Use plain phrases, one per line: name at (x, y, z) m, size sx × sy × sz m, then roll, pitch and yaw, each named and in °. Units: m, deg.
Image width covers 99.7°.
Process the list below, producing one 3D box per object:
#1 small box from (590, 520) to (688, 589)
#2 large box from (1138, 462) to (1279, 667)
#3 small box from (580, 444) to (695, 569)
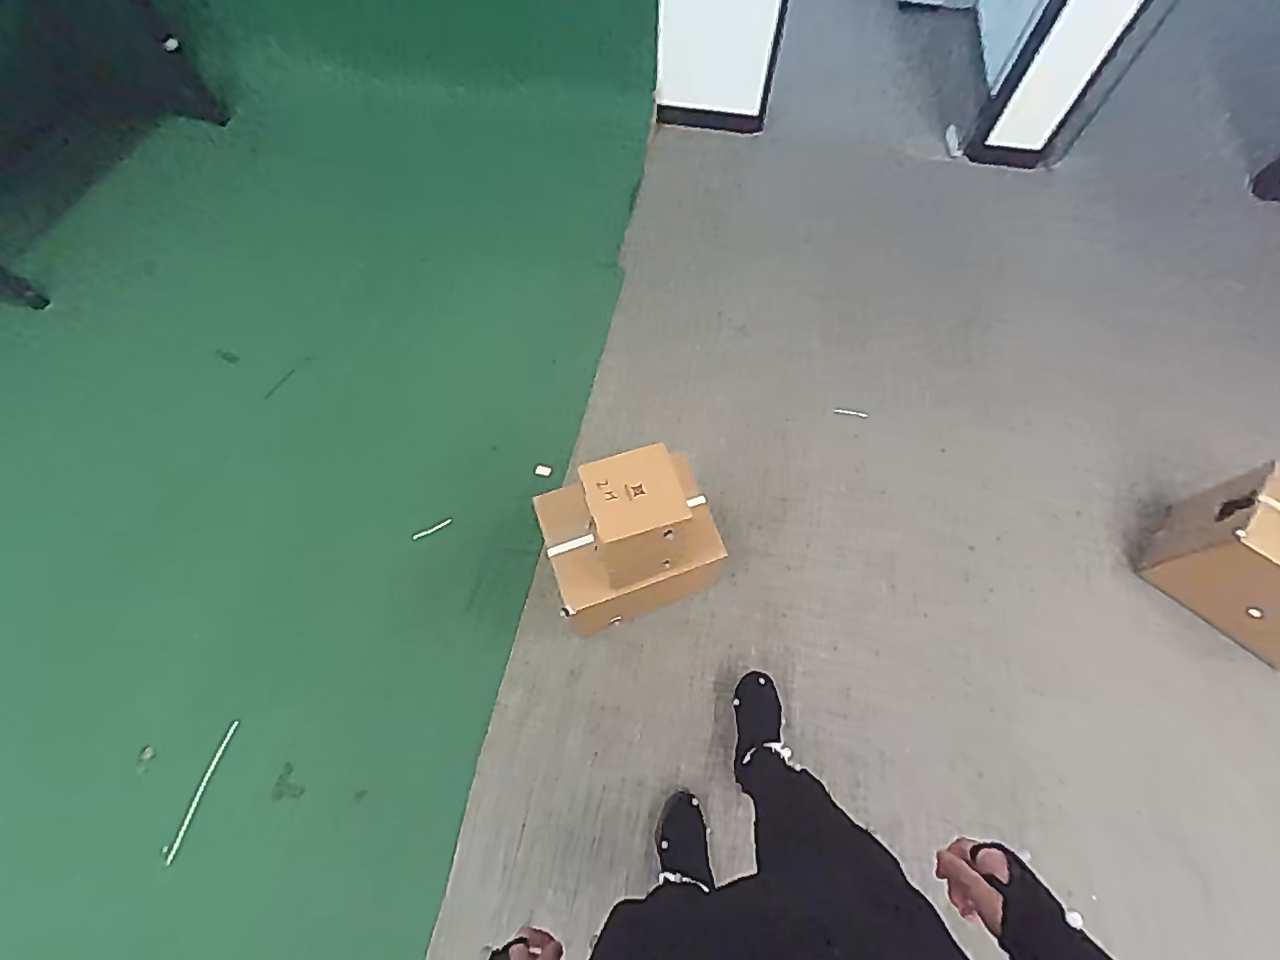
small box at (-0.009, 0.126, 1.205) m, size 0.179 × 0.176 × 0.168 m, roll -18°, pitch 66°, yaw -8°
large box at (1.702, 0.236, 1.438) m, size 0.408 × 0.320 × 0.320 m, roll 40°, pitch 70°, yaw 18°
small box at (-0.008, 0.057, 1.056) m, size 0.179 × 0.176 × 0.168 m, roll -16°, pitch 65°, yaw -8°
